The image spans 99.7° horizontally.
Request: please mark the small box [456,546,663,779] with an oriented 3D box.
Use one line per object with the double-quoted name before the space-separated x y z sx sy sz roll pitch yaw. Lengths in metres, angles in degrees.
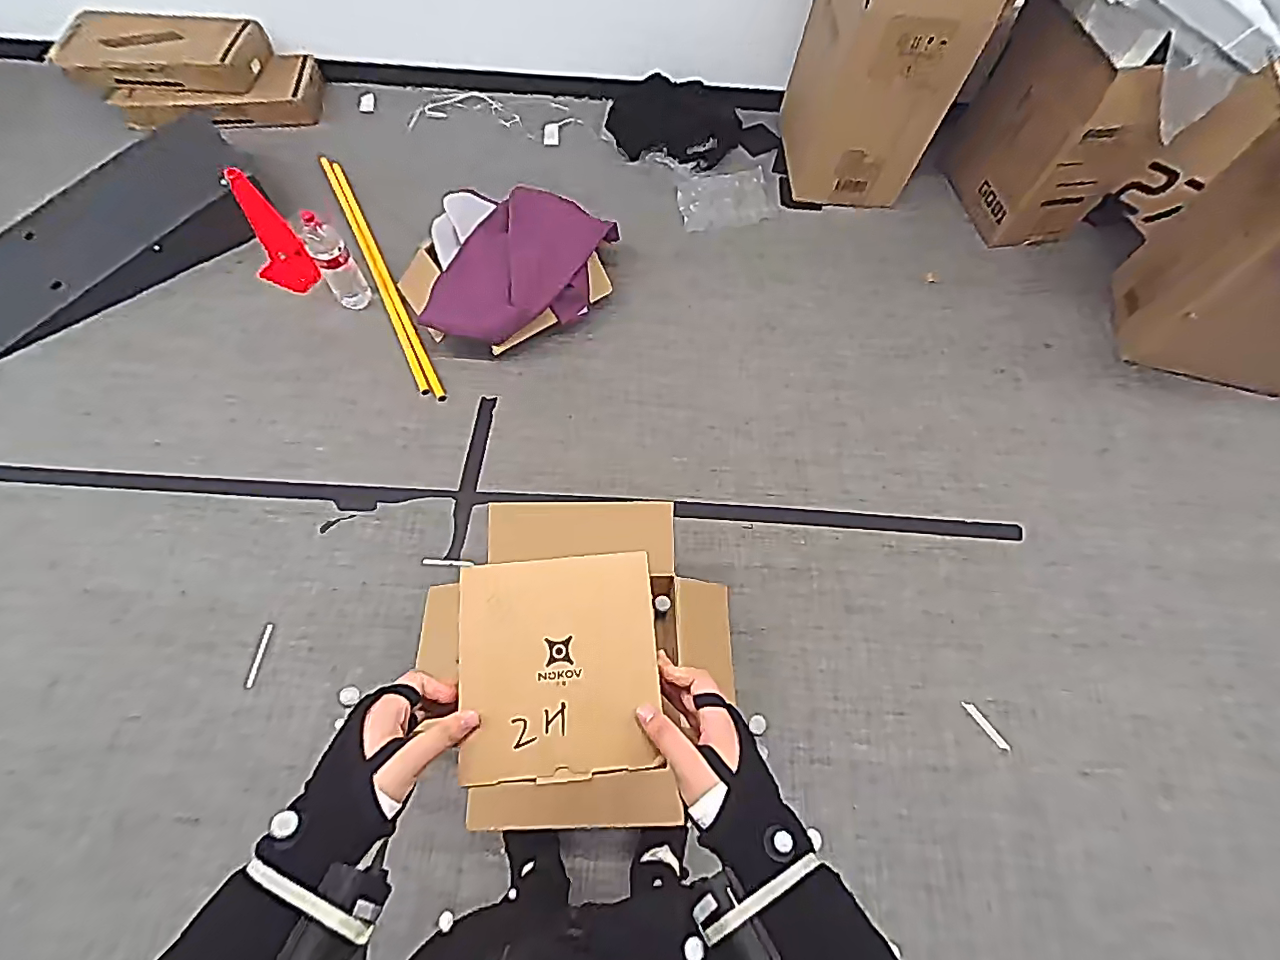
"small box" -0.070 0.172 0.528 0.168 0.176 0.179 -5 72 -1
